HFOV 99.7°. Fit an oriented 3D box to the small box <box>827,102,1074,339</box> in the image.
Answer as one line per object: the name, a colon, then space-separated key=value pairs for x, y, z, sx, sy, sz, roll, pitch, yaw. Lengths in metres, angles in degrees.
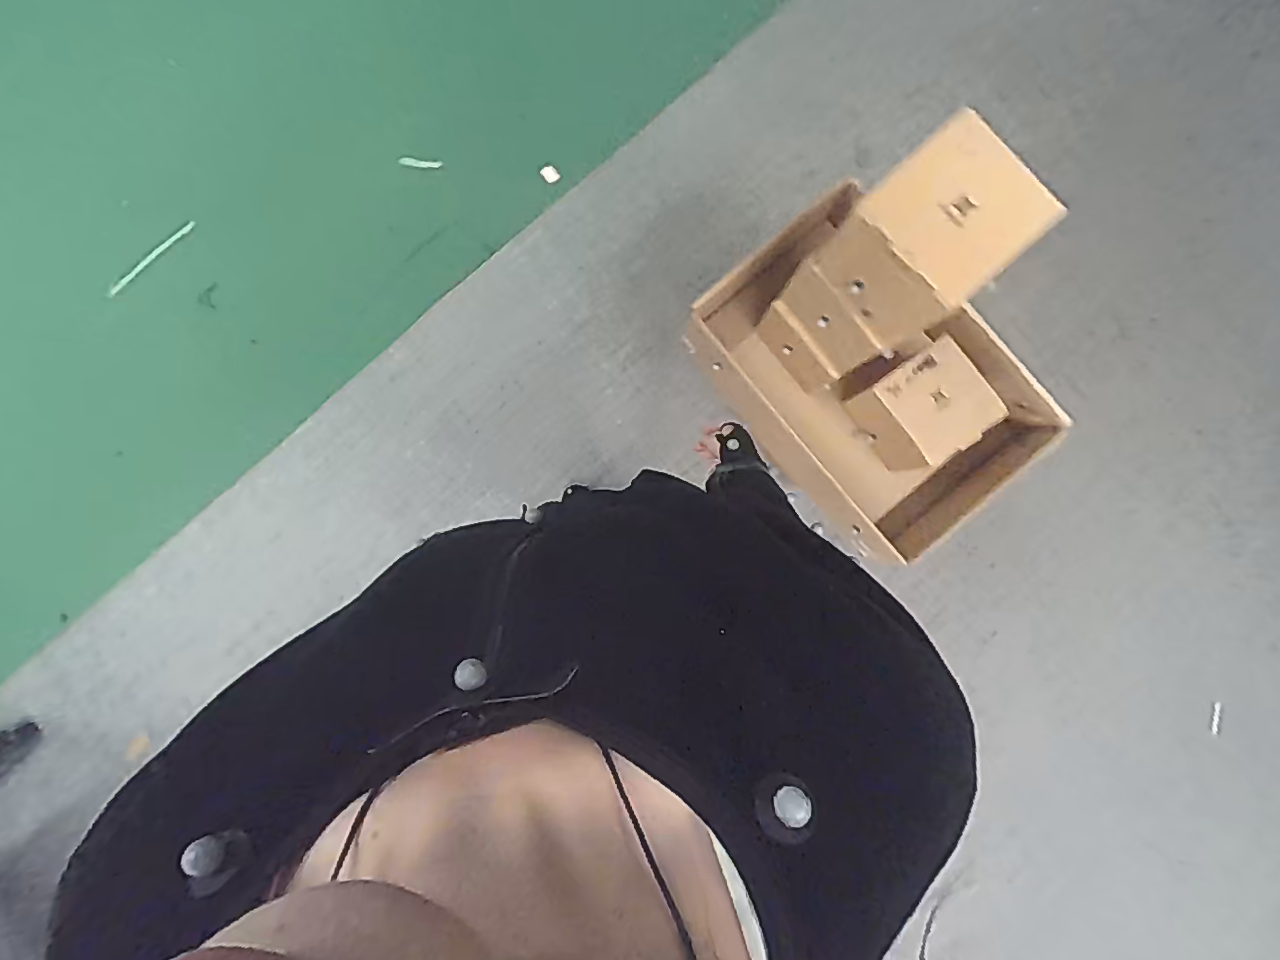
small box: x=0.372 y=-0.310 z=0.687 sx=0.179 sy=0.176 sz=0.168 roll=-41 pitch=89 yaw=1
